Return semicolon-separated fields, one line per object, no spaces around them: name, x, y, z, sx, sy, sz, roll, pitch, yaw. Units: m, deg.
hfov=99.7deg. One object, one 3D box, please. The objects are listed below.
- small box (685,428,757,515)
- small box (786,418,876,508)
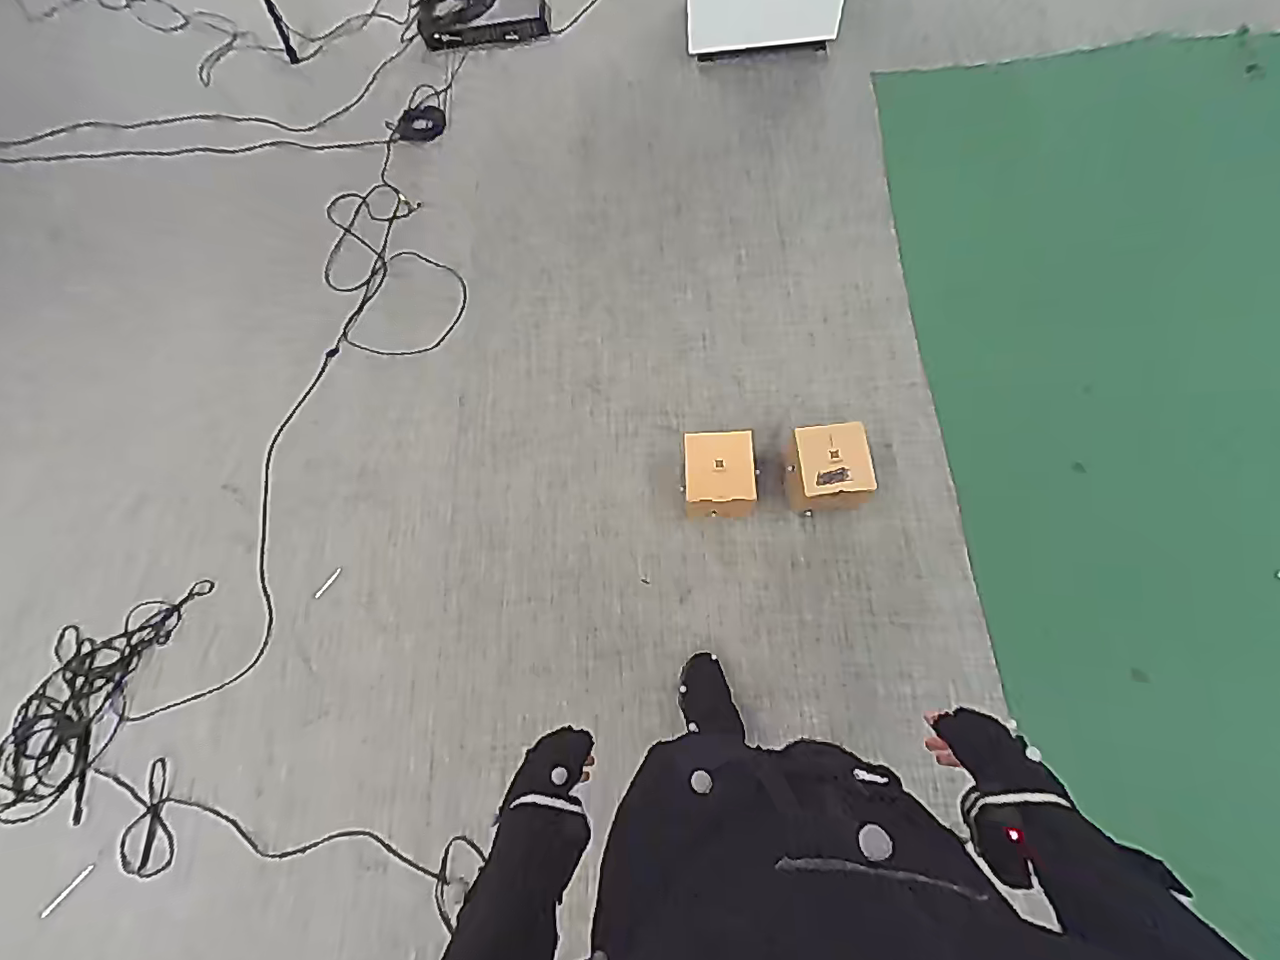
small box;0.199;-0.018;1.369;0.168;0.176;0.179;-2;72;5
small box;0.466;-0.034;1.346;0.168;0.176;0.179;-5;71;4
